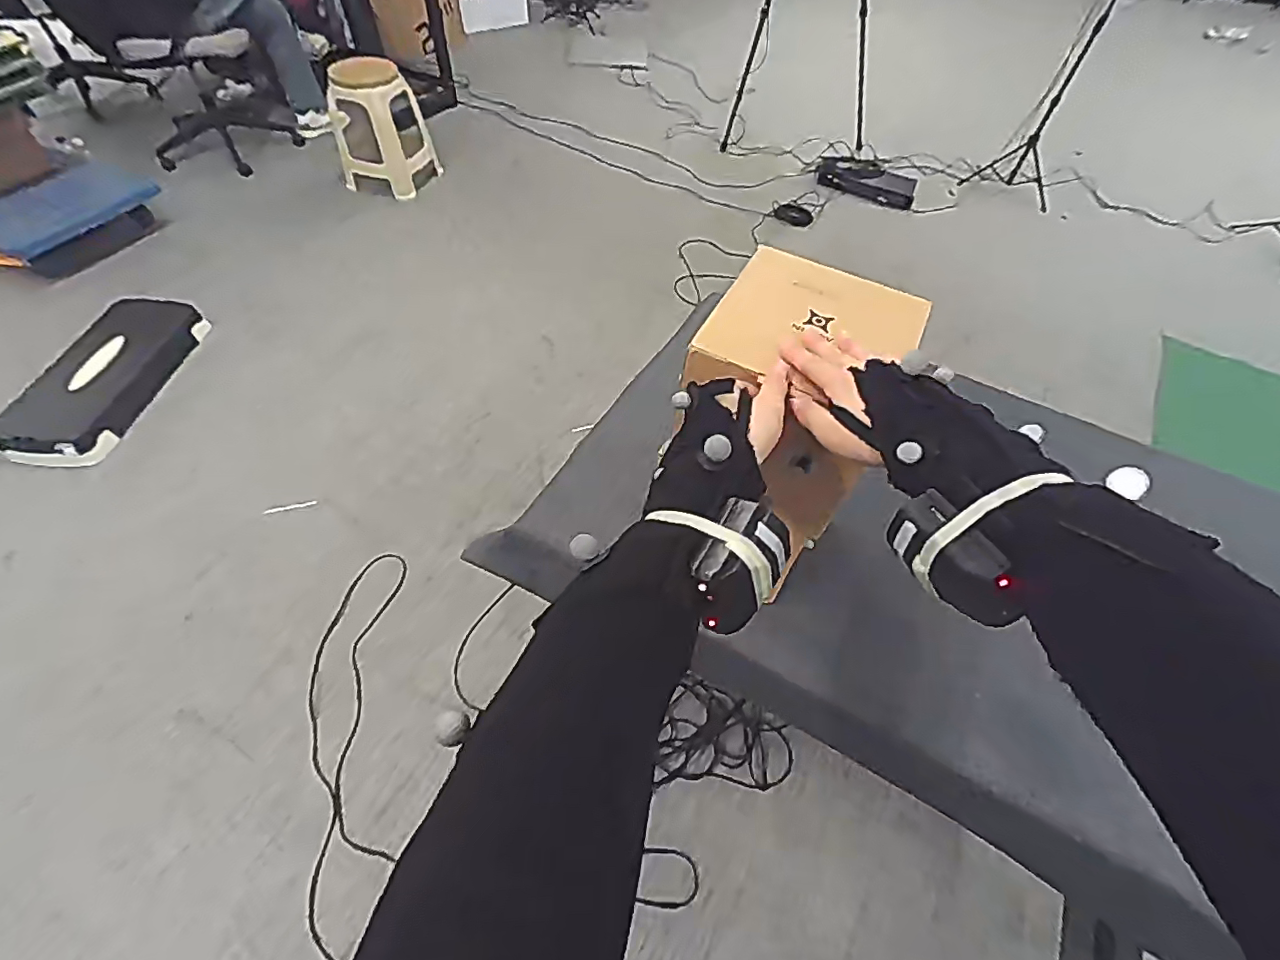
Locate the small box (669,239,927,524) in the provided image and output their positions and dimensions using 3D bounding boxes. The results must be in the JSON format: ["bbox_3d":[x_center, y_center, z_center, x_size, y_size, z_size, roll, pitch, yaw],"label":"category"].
[{"bbox_3d":[0.137,-0.088,0.514,0.168,0.176,0.179,25,55,11],"label":"small box"}]

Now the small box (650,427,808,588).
[{"bbox_3d":[0.126,0.000,0.649,0.179,0.176,0.168,29,57,16],"label":"small box"}]
